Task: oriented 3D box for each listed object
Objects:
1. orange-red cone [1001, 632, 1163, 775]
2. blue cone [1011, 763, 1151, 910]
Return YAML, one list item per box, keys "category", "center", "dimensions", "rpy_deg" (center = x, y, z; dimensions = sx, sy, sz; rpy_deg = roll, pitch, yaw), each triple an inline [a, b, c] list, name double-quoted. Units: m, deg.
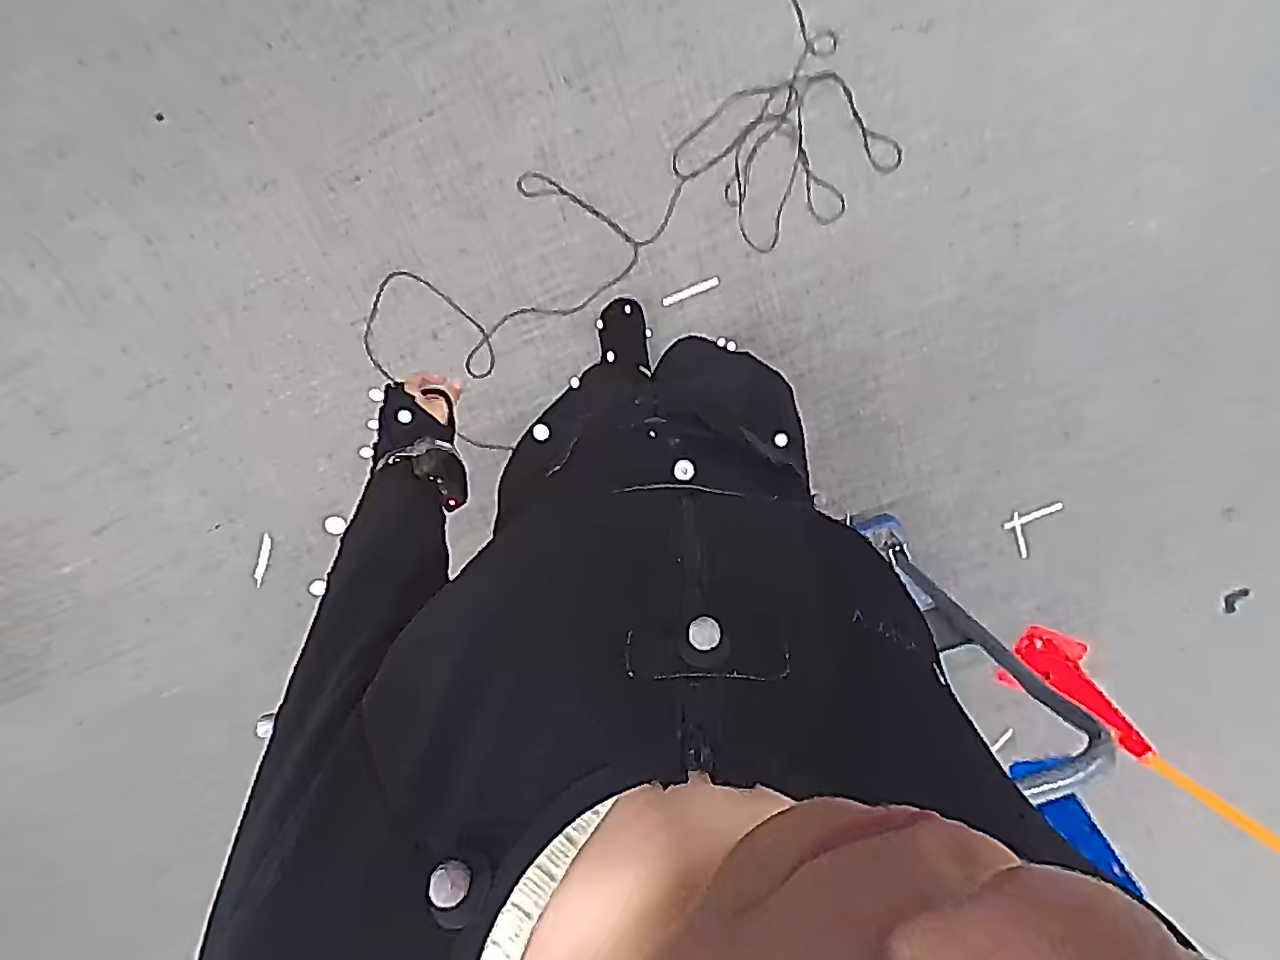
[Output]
- category: "orange-red cone"
  center: [1.145, 0.588, 1.365]
  dimensions: [0.198, 0.360, 0.199]
  rpy_deg: [22, 107, -6]
- category: "blue cone"
  center: [1.237, 0.999, 1.503]
  dimensions: [0.193, 0.380, 0.192]
  rpy_deg: [-7, 106, 2]
